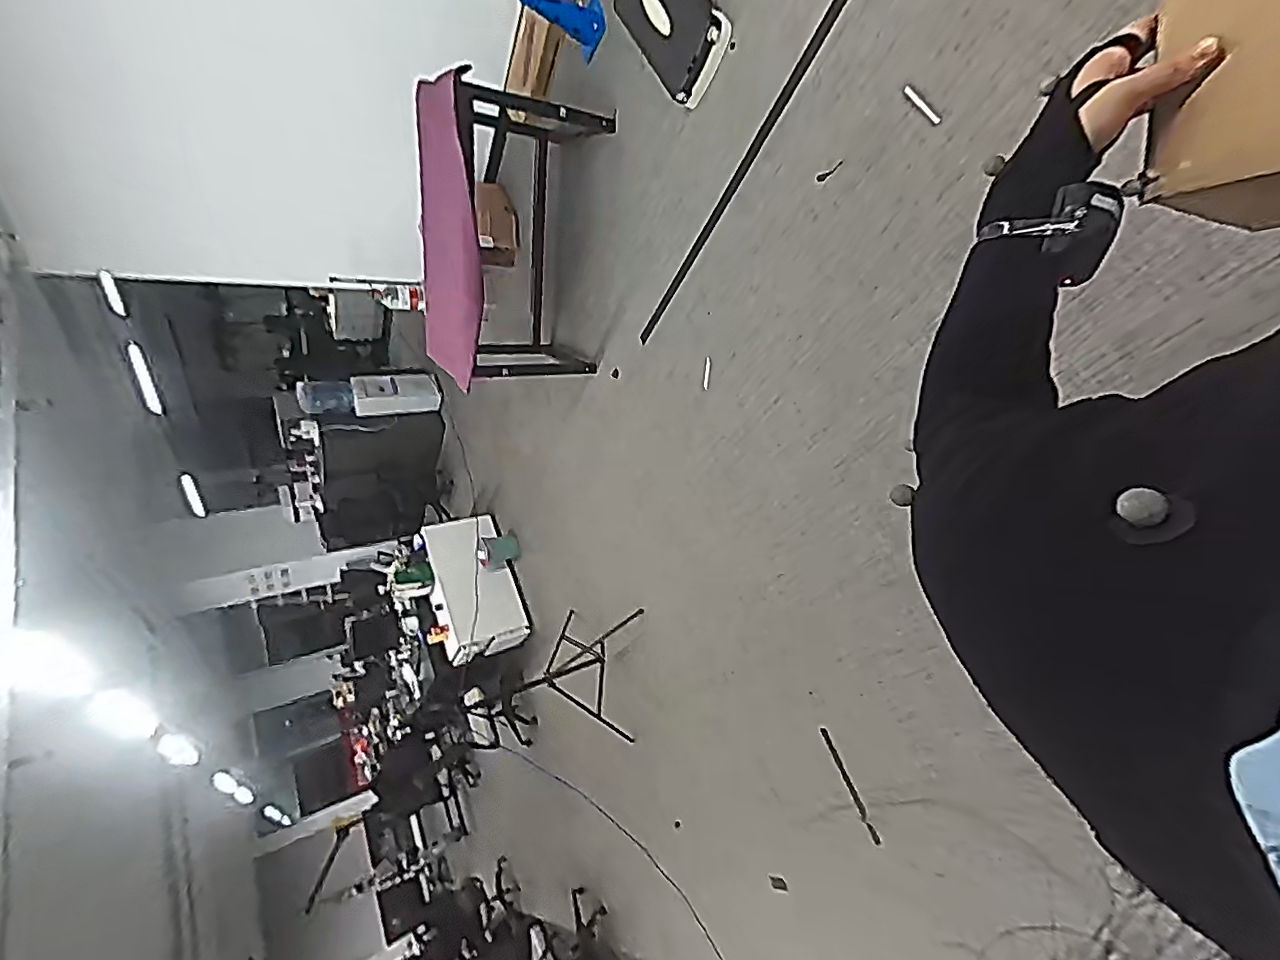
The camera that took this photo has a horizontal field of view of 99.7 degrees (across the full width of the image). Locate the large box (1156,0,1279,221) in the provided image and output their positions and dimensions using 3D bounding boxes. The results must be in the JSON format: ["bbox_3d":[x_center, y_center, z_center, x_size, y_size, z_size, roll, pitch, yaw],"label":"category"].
[{"bbox_3d":[0.625,-0.375,0.305,0.408,0.320,0.320,13,108,59],"label":"large box"}]
